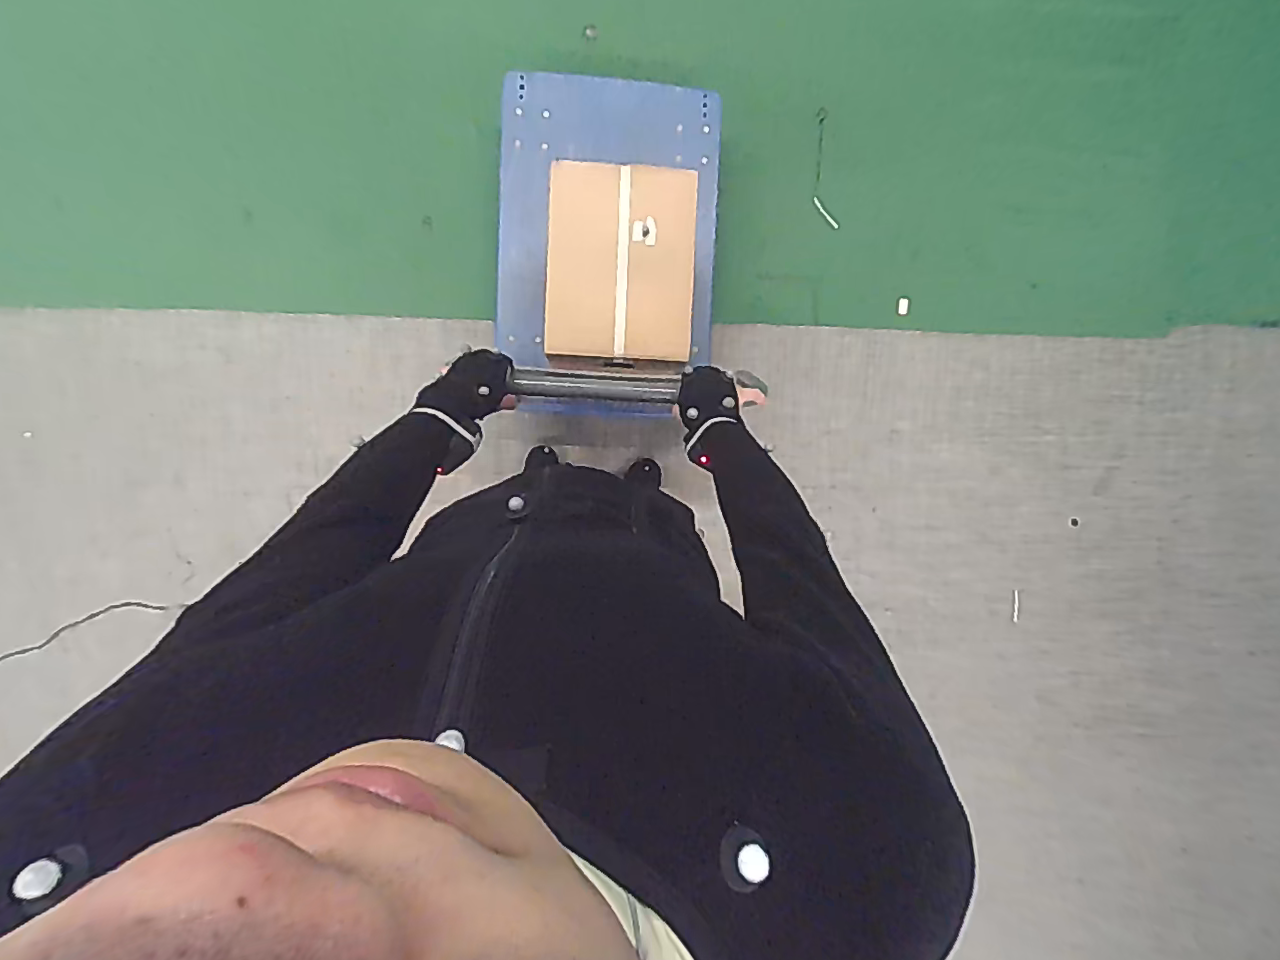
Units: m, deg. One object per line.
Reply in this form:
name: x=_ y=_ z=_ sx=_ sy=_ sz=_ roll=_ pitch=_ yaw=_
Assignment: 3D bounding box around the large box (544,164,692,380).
large box: x=-0.055 y=-0.464 z=1.295 sx=0.320 sy=0.320 sz=0.408 roll=2 pitch=92 yaw=-6
